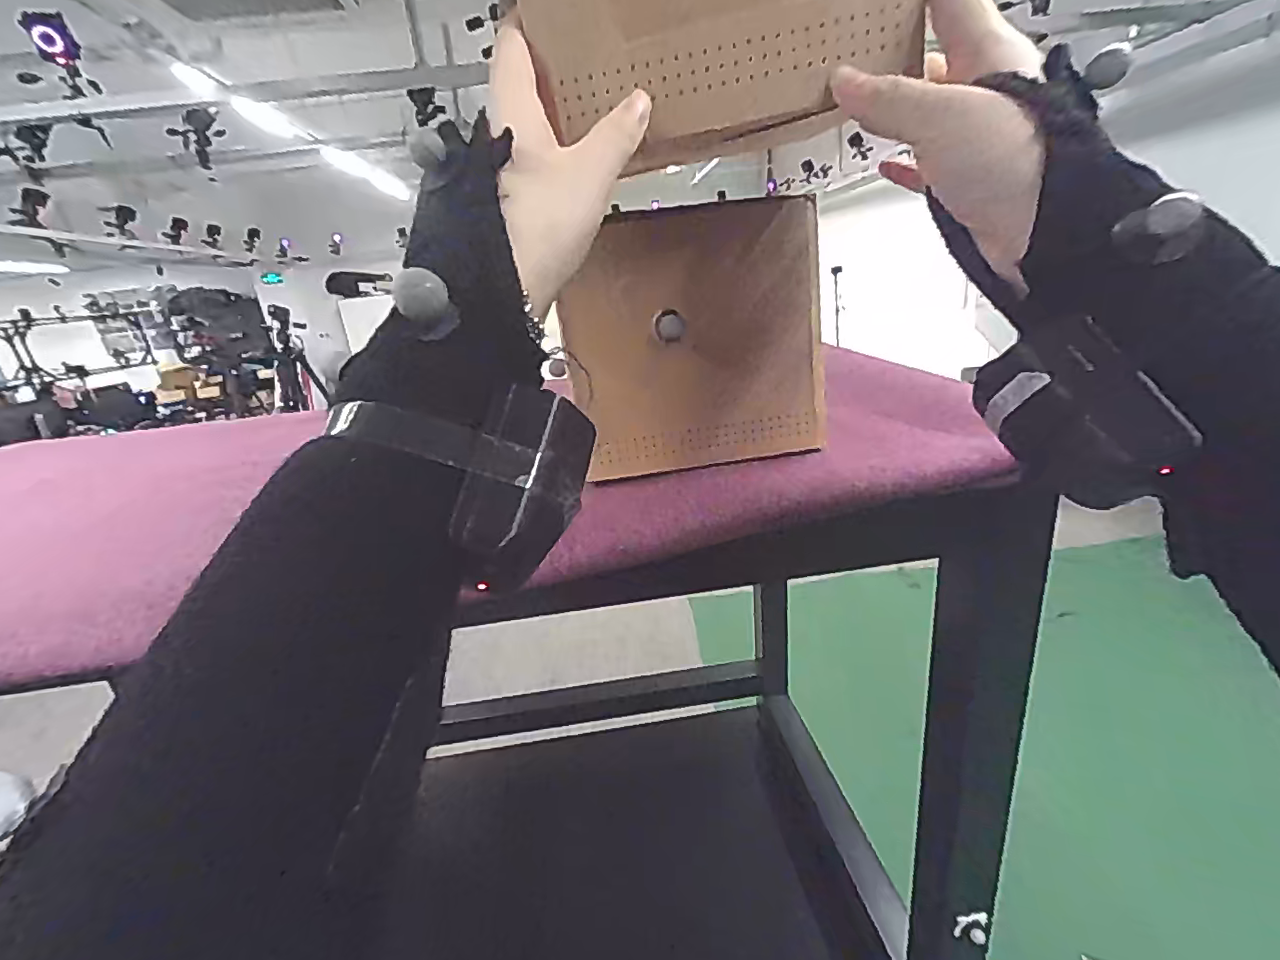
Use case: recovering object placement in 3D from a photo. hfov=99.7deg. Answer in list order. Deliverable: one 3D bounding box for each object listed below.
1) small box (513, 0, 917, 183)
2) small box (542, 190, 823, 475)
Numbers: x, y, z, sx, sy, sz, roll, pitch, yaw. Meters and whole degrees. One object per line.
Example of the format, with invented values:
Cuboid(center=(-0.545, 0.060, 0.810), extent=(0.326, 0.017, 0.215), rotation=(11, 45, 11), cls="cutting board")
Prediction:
Cuboid(center=(0.025, -0.262, 0.280), extent=(0.179, 0.176, 0.168), rotation=(-11, 25, 2), cls="small box")
Cuboid(center=(0.031, -0.109, 0.432), extent=(0.179, 0.176, 0.168), rotation=(-9, 17, -2), cls="small box")
